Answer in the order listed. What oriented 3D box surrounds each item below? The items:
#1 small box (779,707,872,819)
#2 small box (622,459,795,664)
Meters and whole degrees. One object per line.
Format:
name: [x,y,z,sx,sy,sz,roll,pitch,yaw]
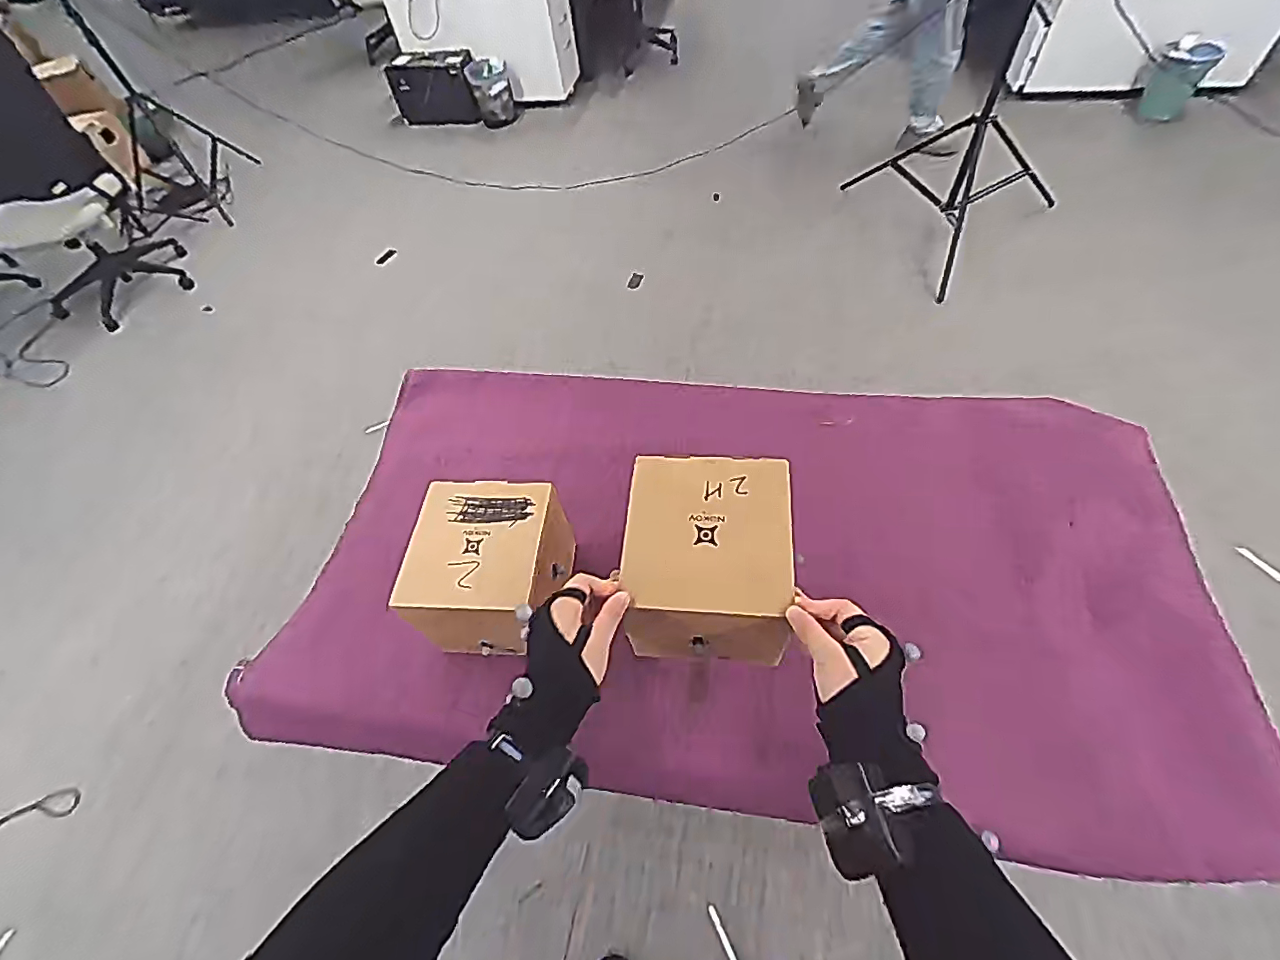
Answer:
small box: [0.405,0.631,1.197,0.168,0.176,0.179,9,56,13]
small box: [0.080,0.096,0.614,0.168,0.176,0.179,2,55,8]
